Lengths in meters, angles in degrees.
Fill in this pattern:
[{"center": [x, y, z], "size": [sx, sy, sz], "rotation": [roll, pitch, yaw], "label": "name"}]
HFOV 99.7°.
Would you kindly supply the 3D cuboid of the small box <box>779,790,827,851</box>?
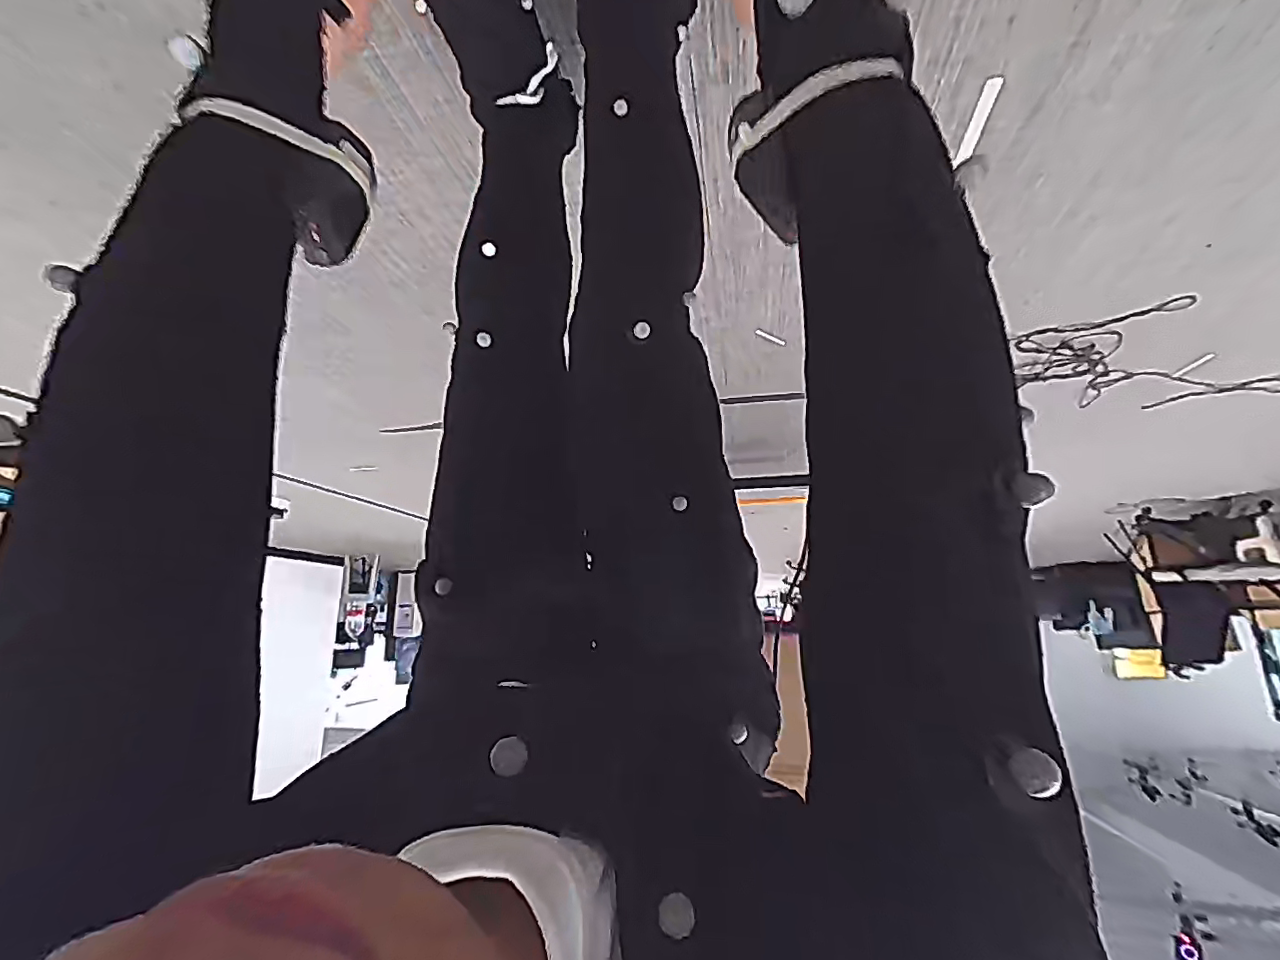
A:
[{"center": [0.659, 1.375, 2.199], "size": [0.168, 0.176, 0.179], "rotation": [-4, 165, 12], "label": "small box"}]
